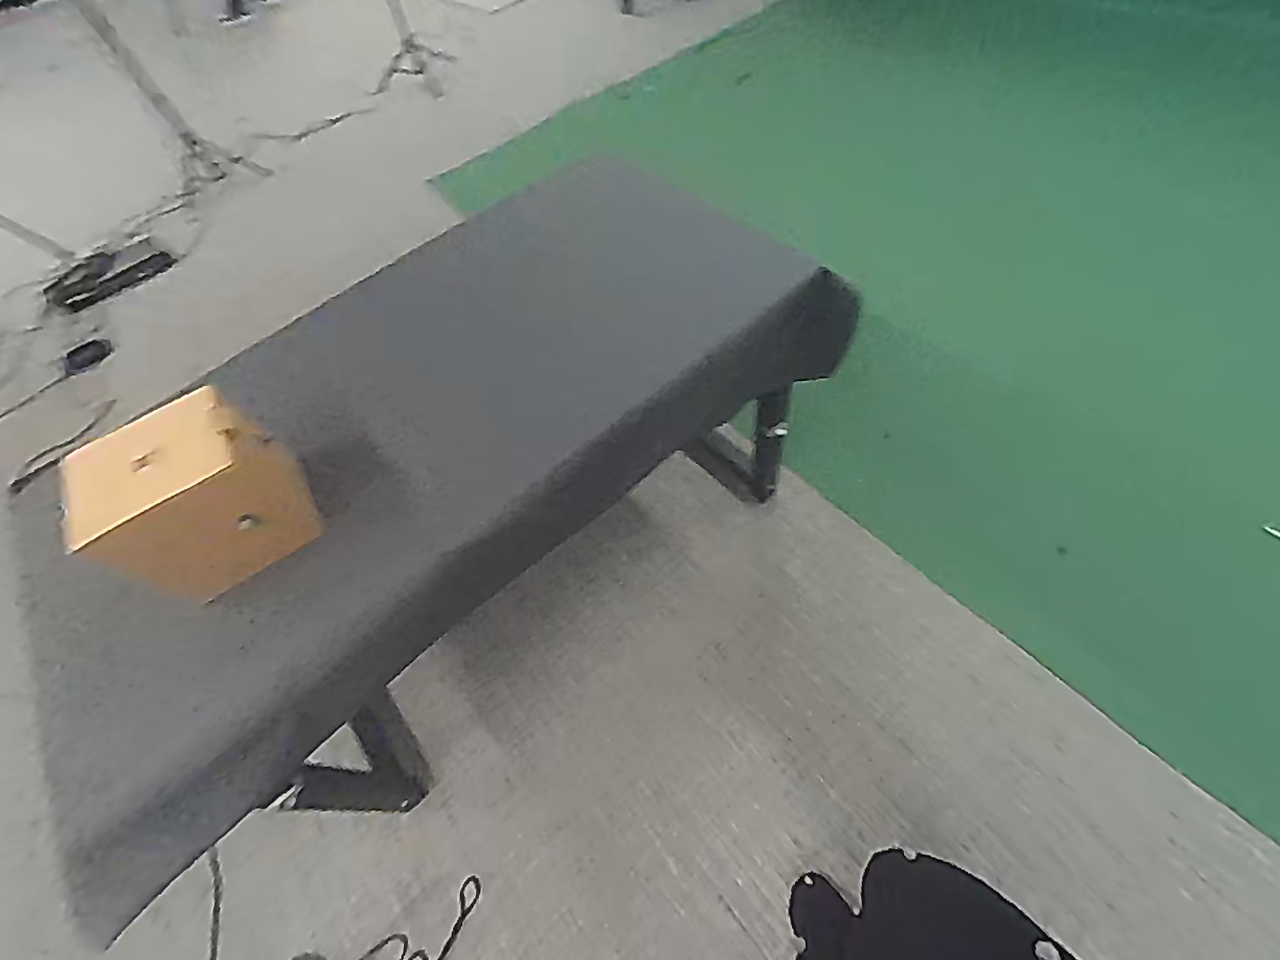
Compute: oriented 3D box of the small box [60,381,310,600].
[{"bbox_3d":[-0.552,0.017,0.678,0.179,0.176,0.168,-35,58,-13],"label":"small box"}]
